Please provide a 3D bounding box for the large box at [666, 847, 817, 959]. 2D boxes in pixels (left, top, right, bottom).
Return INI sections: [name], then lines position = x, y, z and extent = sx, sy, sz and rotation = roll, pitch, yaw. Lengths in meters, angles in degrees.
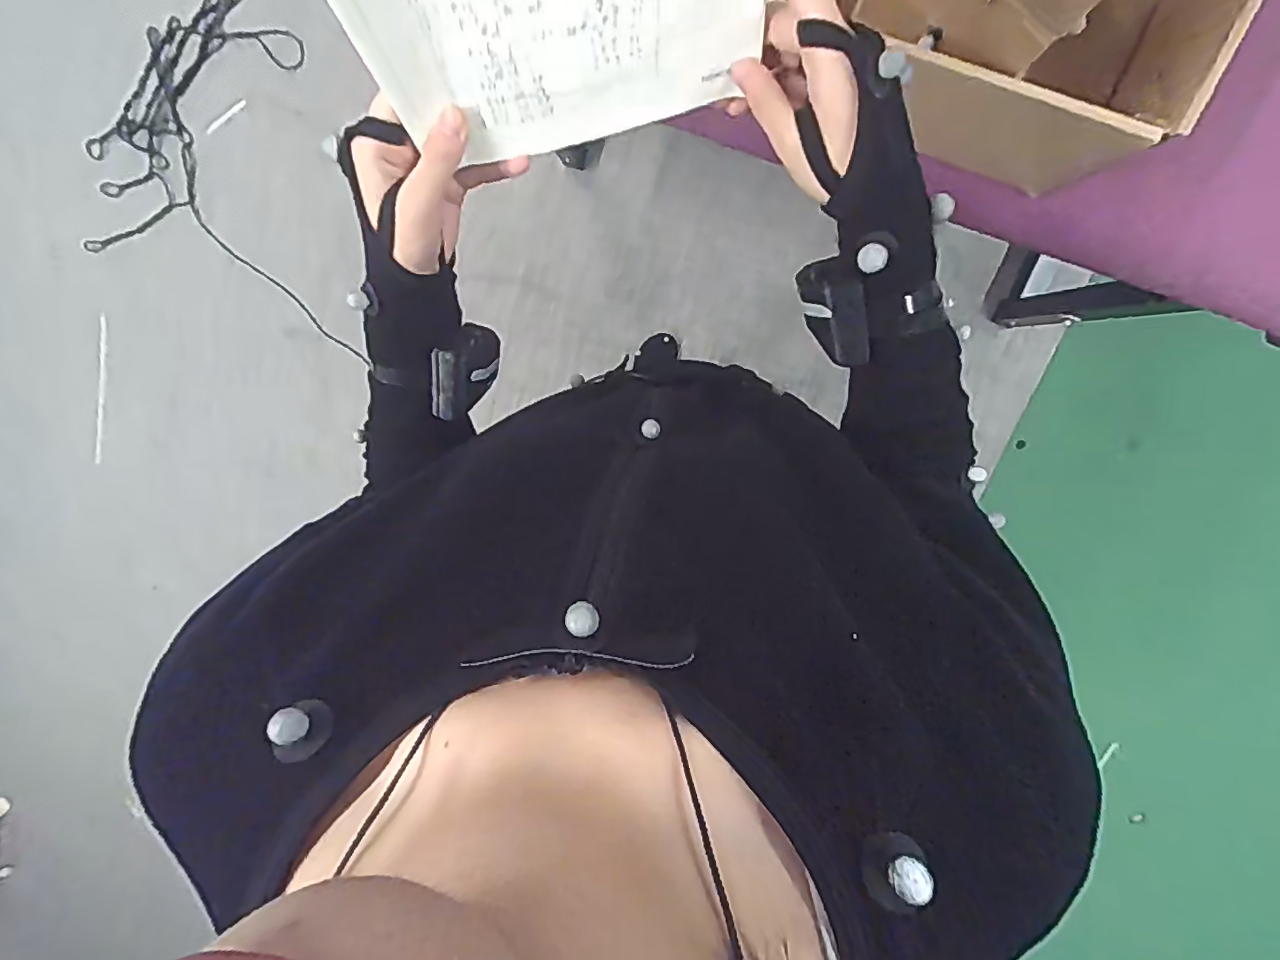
[large box]
position = 0.284, 1.390, 1.641
extent = 0.408, 0.320, 0.320
rotation = 5, 104, 5
